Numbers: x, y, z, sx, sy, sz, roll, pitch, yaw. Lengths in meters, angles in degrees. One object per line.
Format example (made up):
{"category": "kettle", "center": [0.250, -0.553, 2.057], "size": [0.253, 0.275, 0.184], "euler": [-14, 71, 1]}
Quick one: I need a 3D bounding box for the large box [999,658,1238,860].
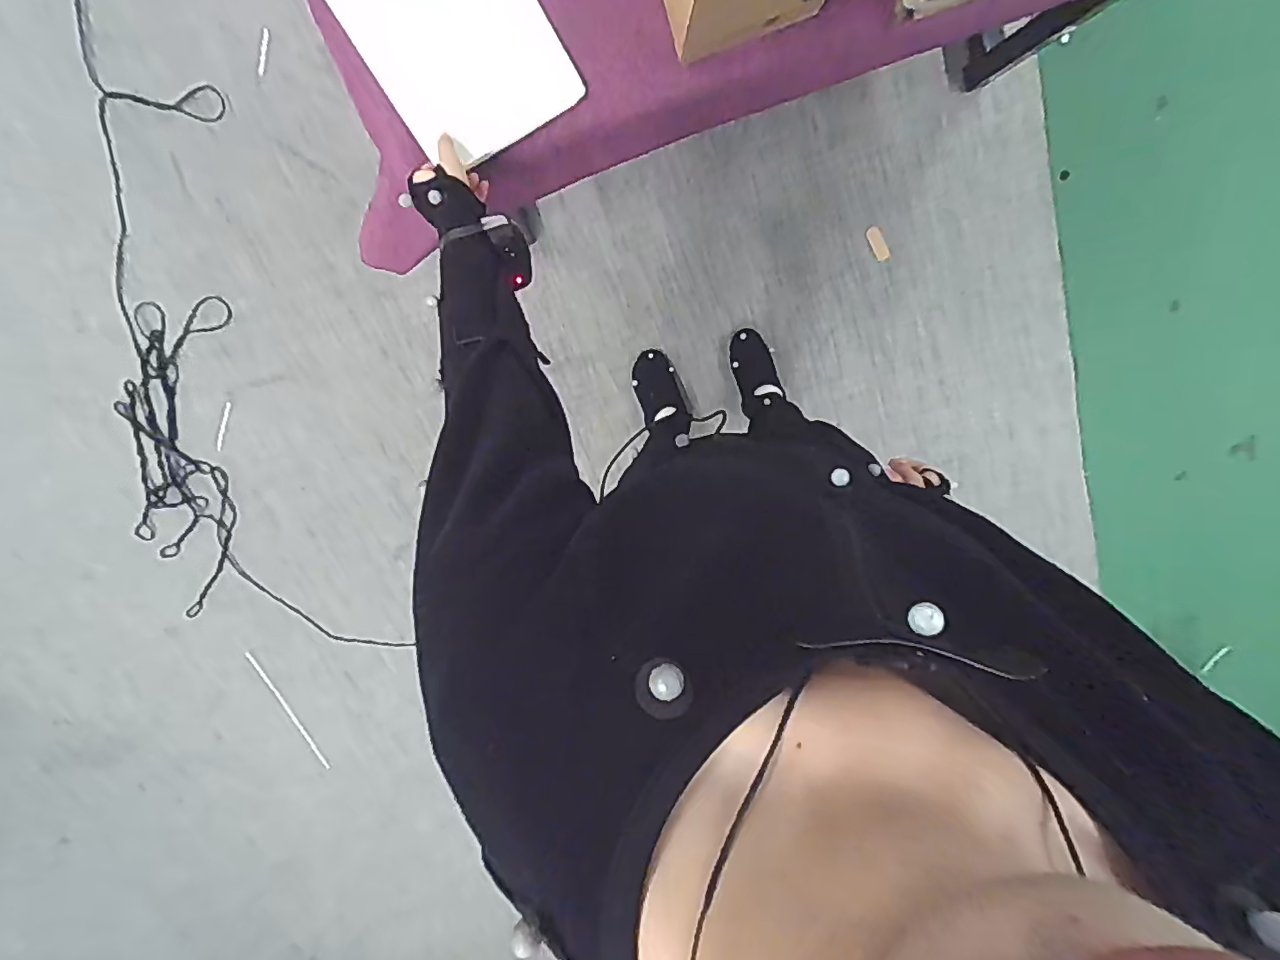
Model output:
{"category": "large box", "center": [1.426, 0.830, 1.645], "size": [0.408, 0.320, 0.320], "euler": [-33, 105, 6]}
